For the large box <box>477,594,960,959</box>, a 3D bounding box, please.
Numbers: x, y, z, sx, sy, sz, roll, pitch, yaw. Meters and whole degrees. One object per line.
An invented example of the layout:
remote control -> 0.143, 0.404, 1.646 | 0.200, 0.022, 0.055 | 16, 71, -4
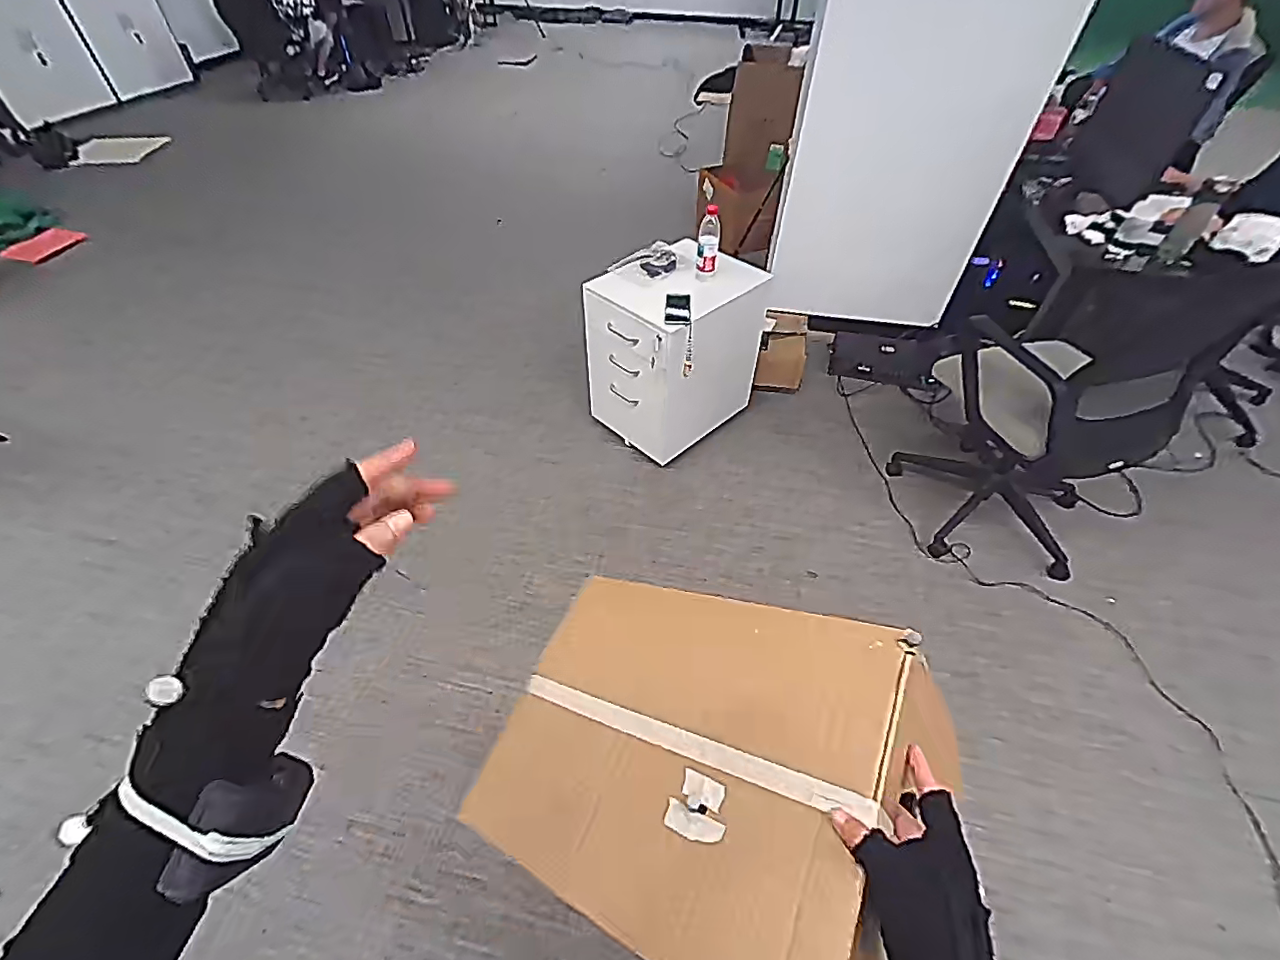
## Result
large box -> 0.103, 0.368, 0.630 | 0.408, 0.320, 0.320 | 0, 49, 41
